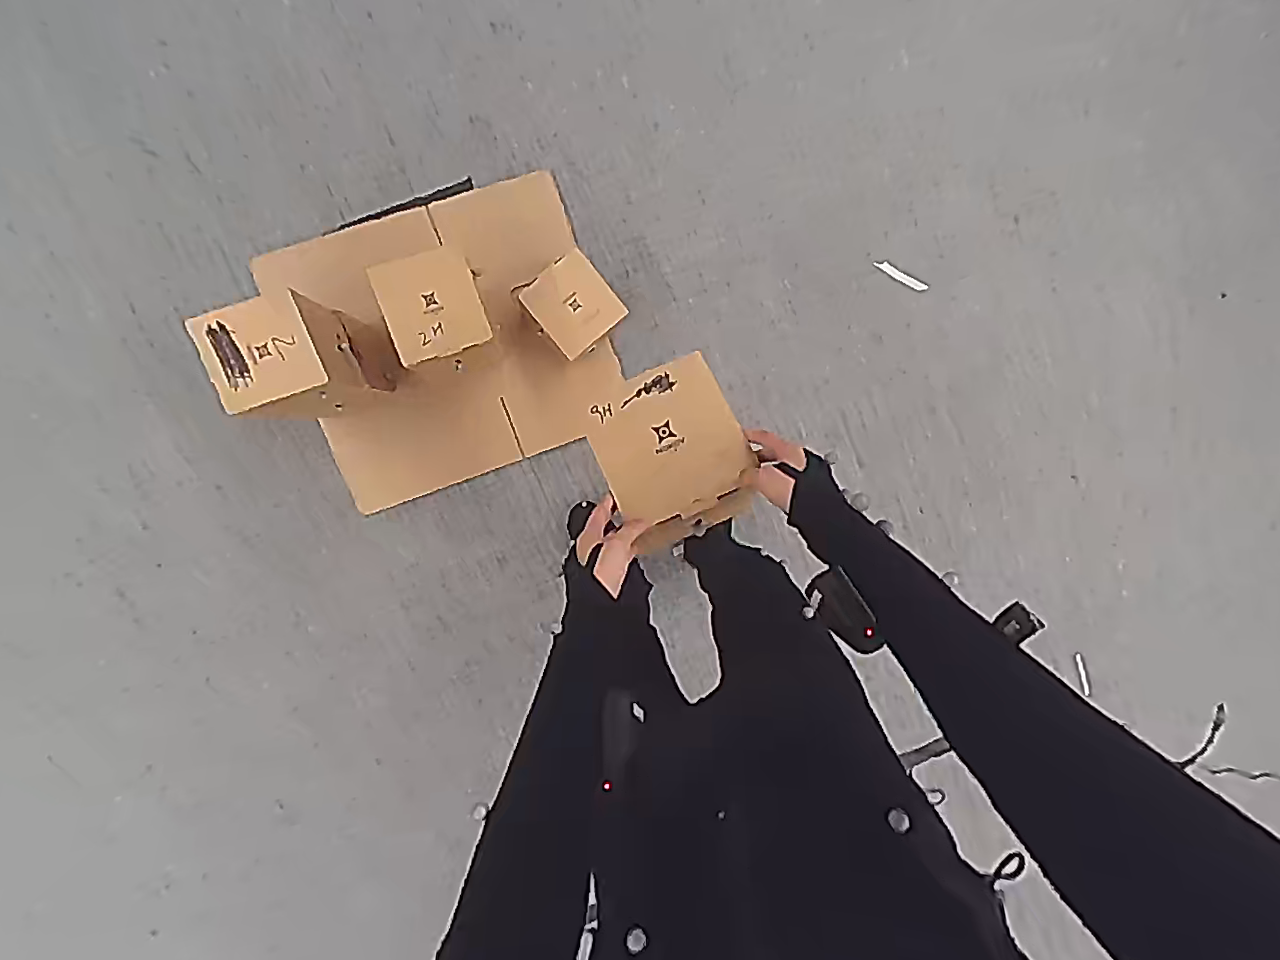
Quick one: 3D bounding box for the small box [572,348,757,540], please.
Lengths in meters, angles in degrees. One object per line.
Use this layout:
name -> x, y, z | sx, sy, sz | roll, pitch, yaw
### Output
small box -> 0.031, -0.031, 0.697 | 0.168, 0.176, 0.179 | -24, 75, -3

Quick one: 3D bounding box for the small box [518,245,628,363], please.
small box -> -0.151, -0.381, 1.209 | 0.168, 0.176, 0.179 | -40, 100, -2

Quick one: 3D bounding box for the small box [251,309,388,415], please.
small box -> -0.657, -0.243, 1.141 | 0.179, 0.176, 0.168 | -21, 99, -5

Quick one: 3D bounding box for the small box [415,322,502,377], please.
small box -> -0.407, -0.329, 1.174 | 0.179, 0.176, 0.168 | -19, 100, -7

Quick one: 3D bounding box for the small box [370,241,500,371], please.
small box -> -0.372, -0.316, 1.013 | 0.168, 0.176, 0.179 | -19, 100, -7
